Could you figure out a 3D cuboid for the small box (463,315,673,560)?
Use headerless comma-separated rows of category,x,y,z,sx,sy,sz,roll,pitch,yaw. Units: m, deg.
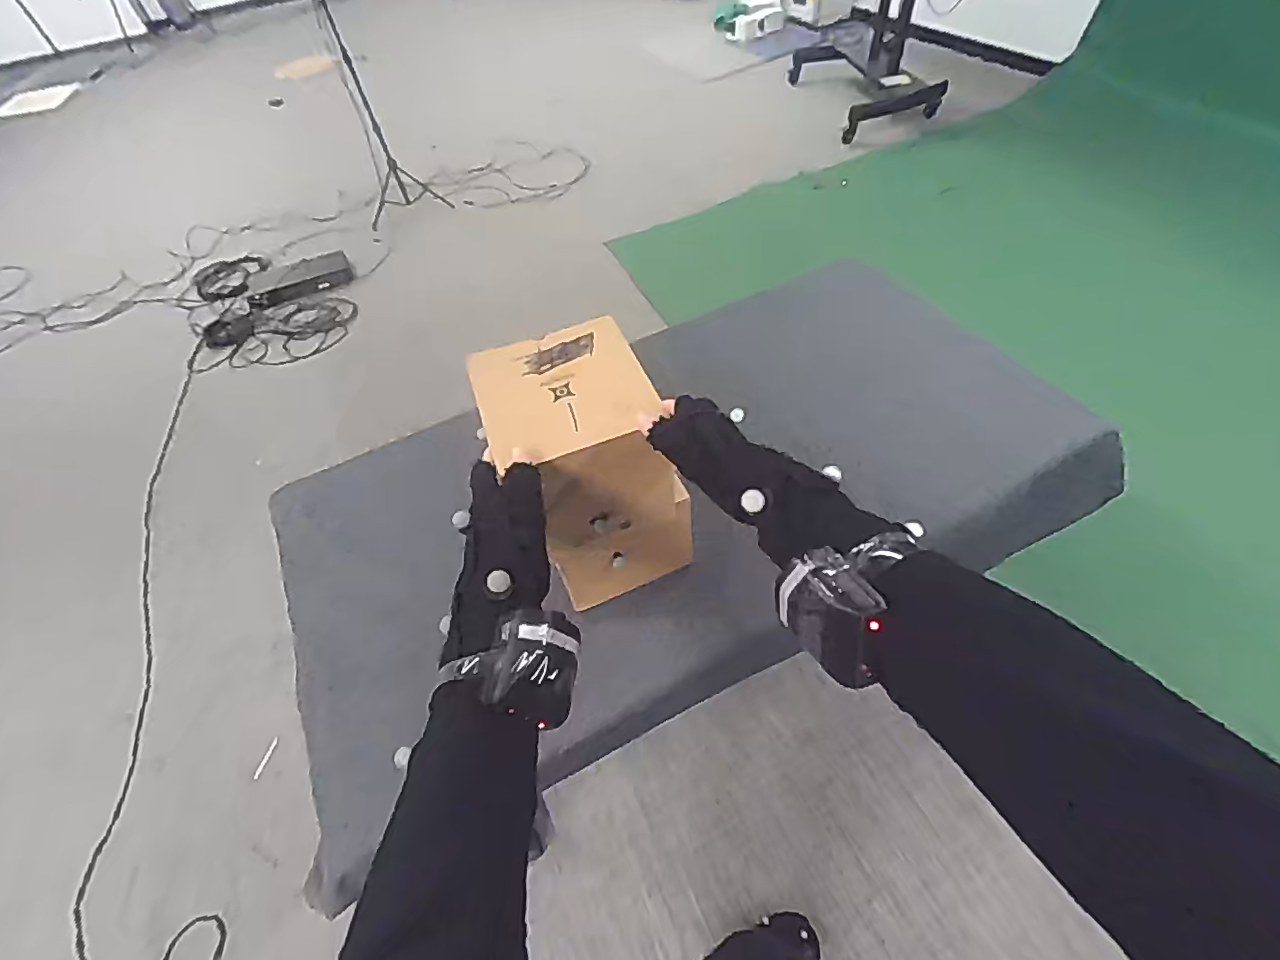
small box,-0.074,-0.045,0.593,0.168,0.176,0.179,-22,53,-10

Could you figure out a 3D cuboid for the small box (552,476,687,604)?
small box,-0.048,0.041,0.733,0.179,0.176,0.168,-23,54,-9
